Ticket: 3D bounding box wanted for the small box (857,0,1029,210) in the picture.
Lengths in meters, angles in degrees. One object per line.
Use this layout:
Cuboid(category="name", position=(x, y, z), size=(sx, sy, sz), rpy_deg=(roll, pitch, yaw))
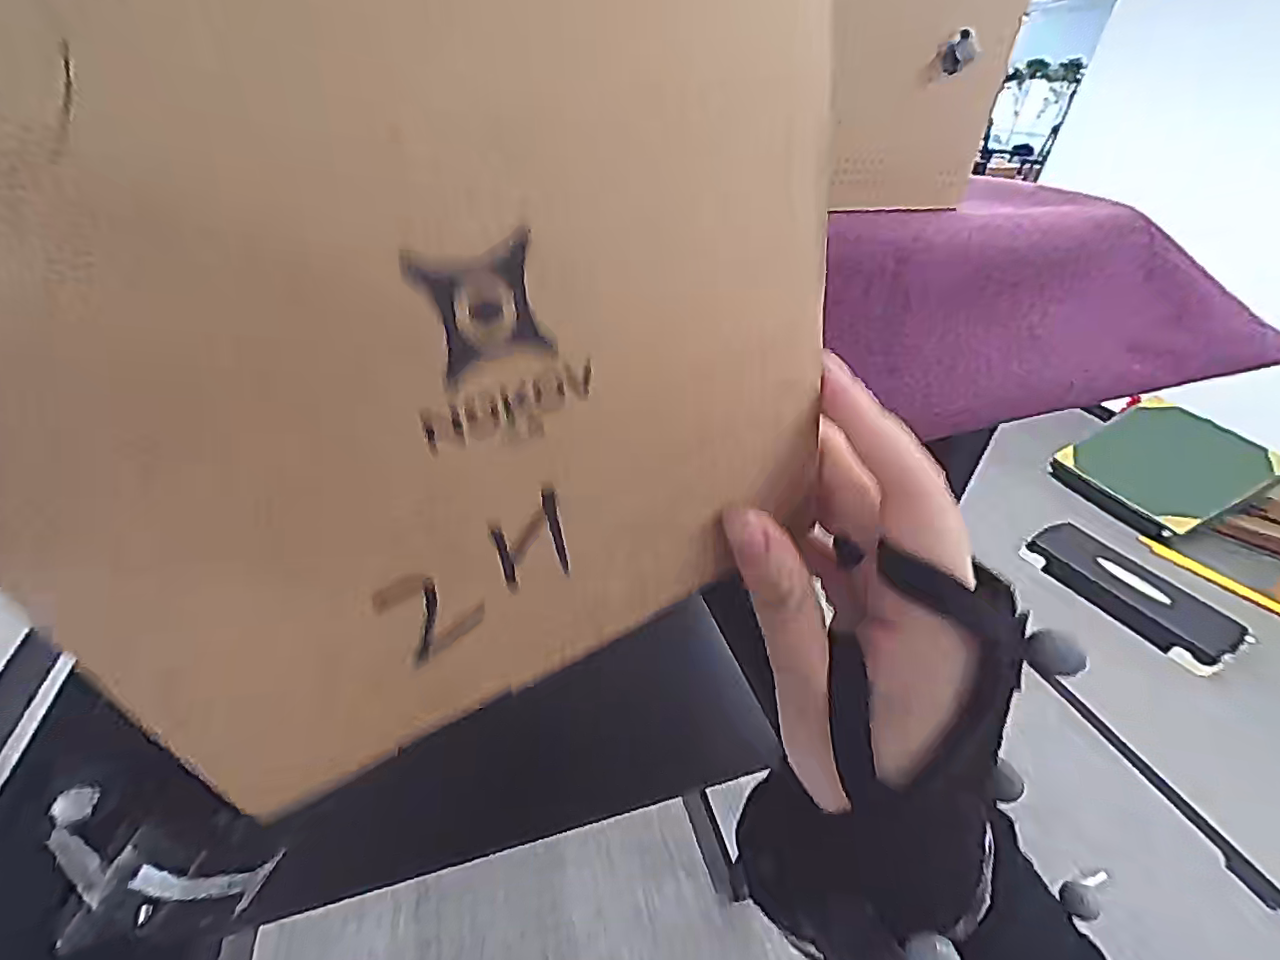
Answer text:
Cuboid(category="small box", position=(0.132, -0.296, 0.385), size=(0.179, 0.176, 0.168), rpy_deg=(-8, 37, -13))
